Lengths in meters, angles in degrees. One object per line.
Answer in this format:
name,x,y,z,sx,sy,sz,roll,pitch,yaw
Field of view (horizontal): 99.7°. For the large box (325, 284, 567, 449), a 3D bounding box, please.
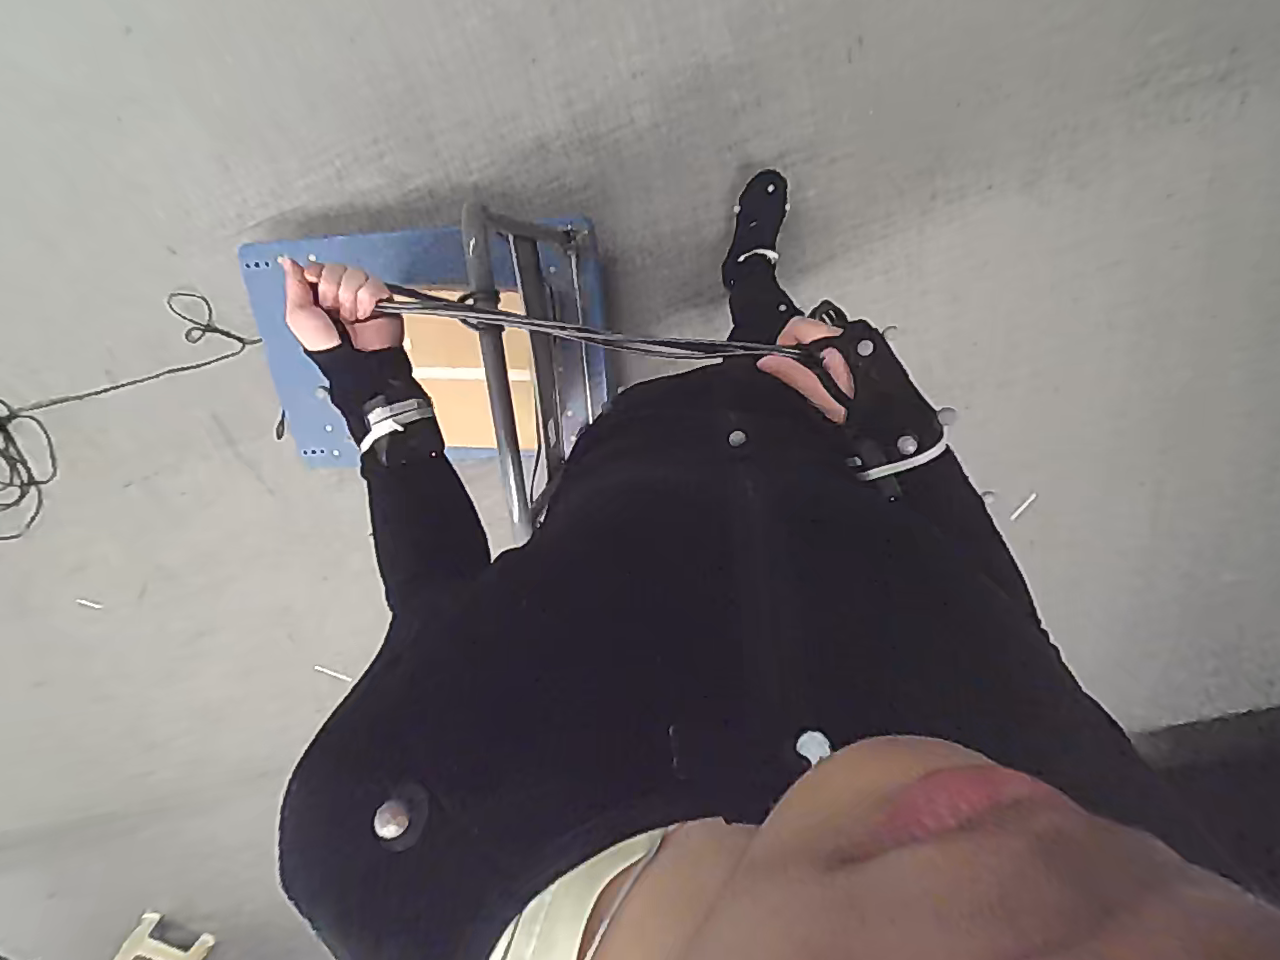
large box,-0.393,-0.268,1.210,0.408,0.320,0.320,2,111,3
